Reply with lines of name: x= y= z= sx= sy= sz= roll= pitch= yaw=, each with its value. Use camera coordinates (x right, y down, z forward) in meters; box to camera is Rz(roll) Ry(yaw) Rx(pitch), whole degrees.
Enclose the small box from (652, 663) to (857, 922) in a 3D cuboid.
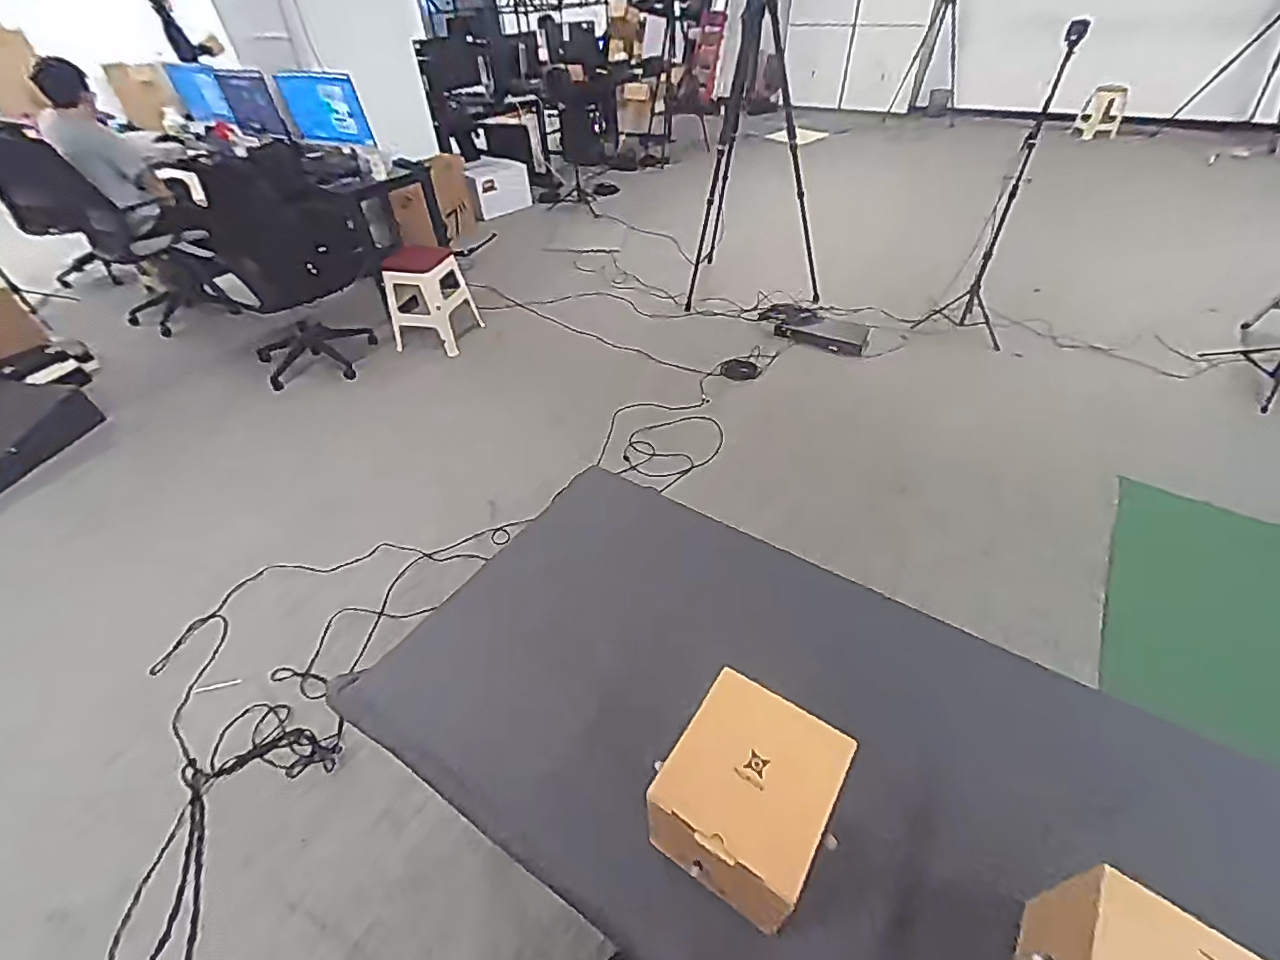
small box: x=0.124 y=0.360 z=0.629 sx=0.168 sy=0.176 sz=0.179 roll=25 pitch=49 yaw=25
